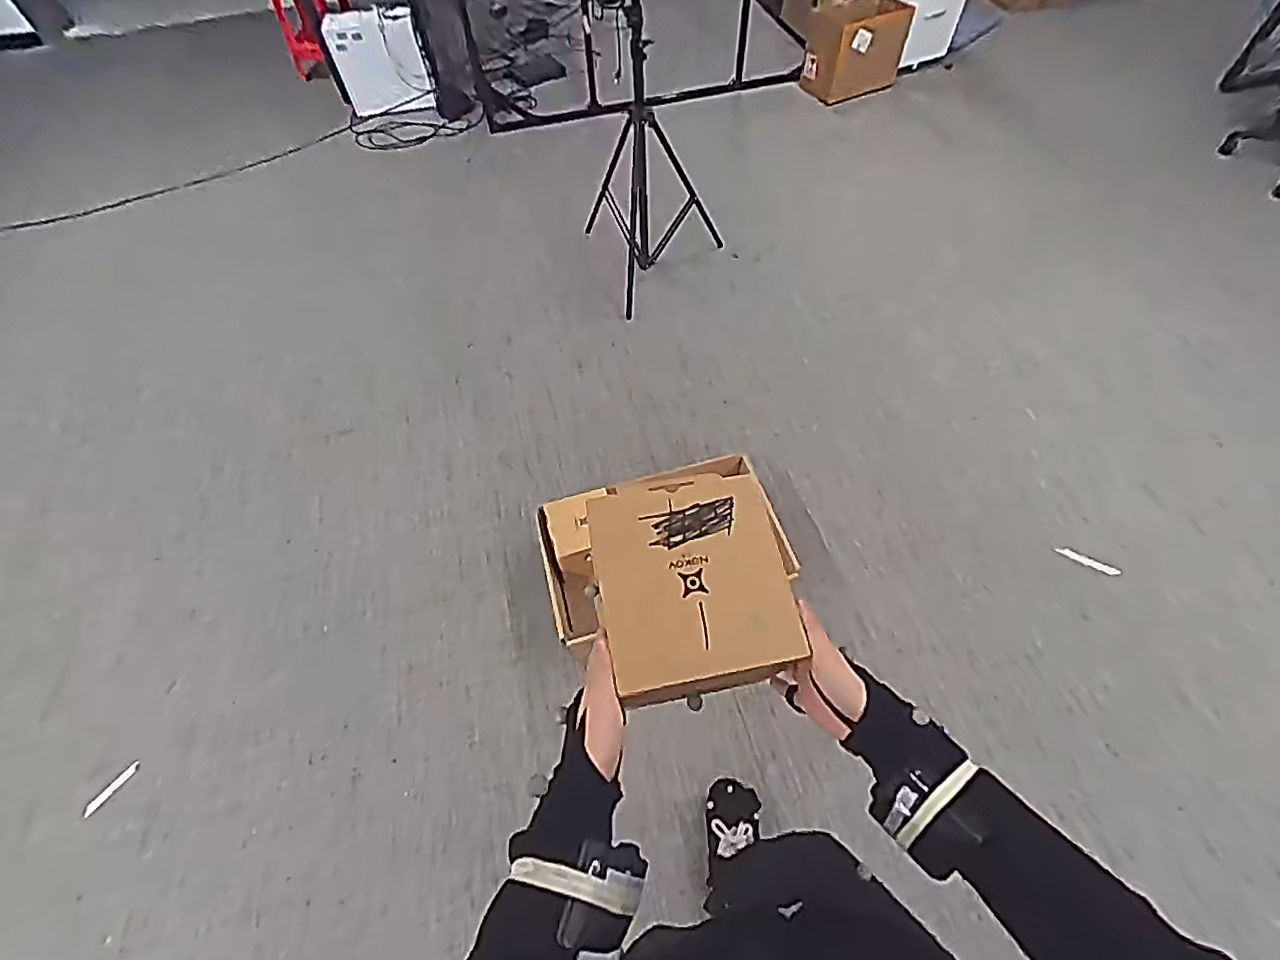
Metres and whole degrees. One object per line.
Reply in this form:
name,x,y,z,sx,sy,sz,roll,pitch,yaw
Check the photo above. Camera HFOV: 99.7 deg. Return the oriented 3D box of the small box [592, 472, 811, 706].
small box,0.044,0.116,0.546,0.168,0.176,0.179,-9,64,-6
